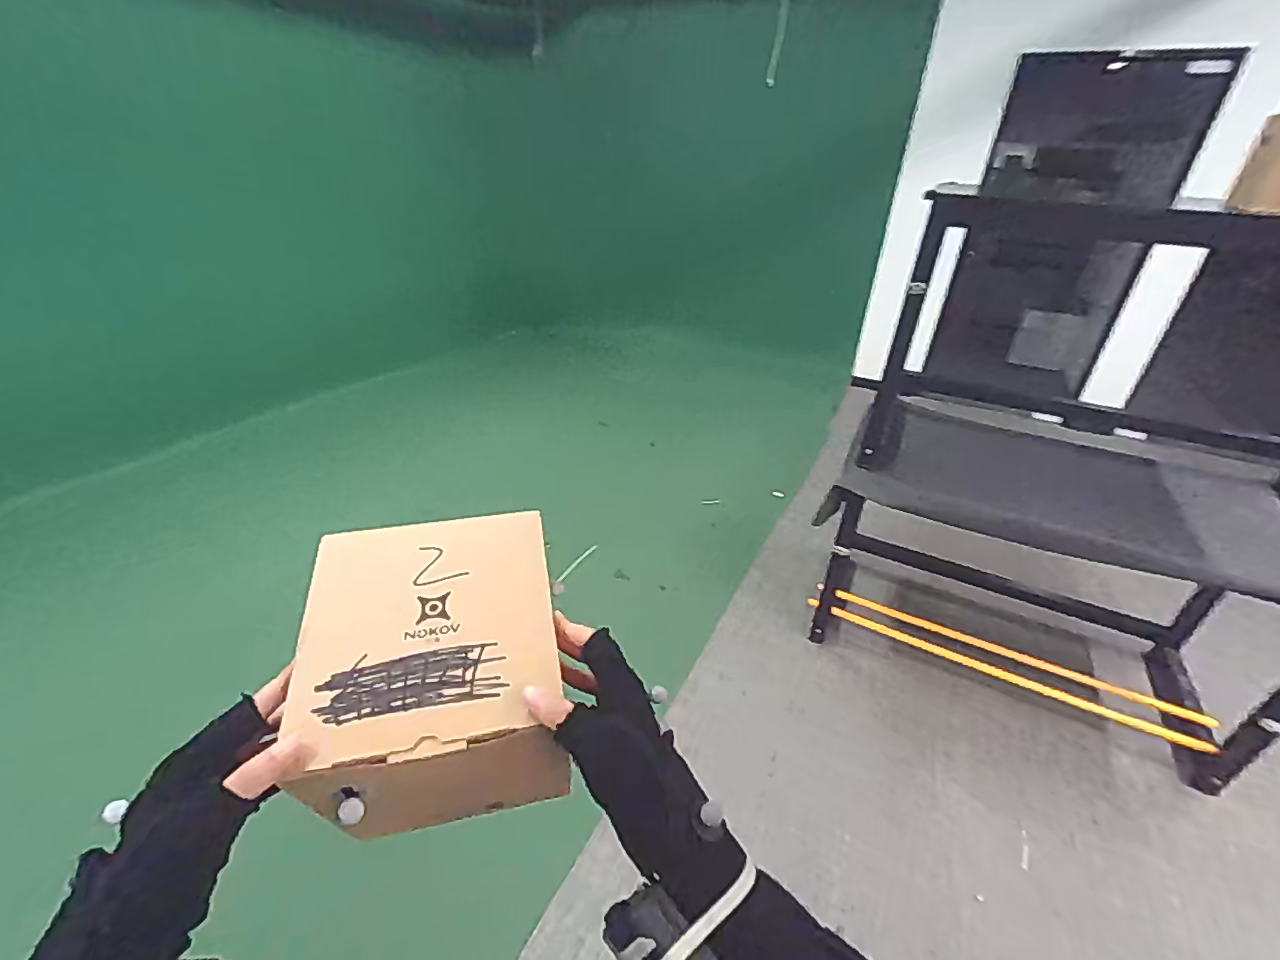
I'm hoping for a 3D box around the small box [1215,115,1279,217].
[{"bbox_3d":[1.307,-0.616,1.069,0.168,0.176,0.179,18,35,25],"label":"small box"}]
